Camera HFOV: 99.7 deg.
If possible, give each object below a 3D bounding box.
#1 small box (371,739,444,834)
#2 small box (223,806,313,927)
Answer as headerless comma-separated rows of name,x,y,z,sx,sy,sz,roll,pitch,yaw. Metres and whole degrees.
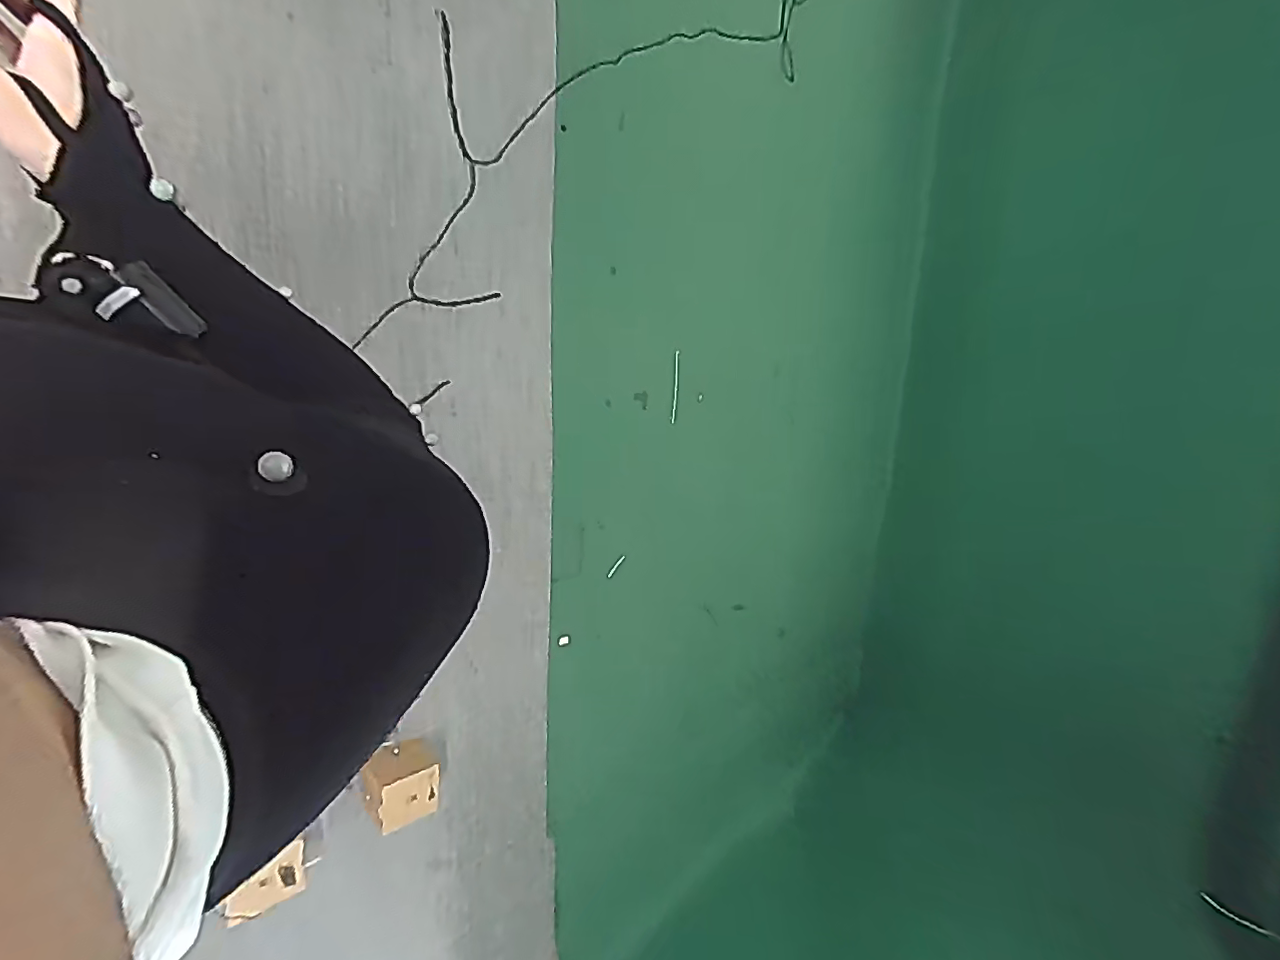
small box,-0.743,0.966,1.721,0.179,0.176,0.168,-4,103,-43
small box,-1.015,1.039,1.474,0.179,0.176,0.168,-6,104,-42
